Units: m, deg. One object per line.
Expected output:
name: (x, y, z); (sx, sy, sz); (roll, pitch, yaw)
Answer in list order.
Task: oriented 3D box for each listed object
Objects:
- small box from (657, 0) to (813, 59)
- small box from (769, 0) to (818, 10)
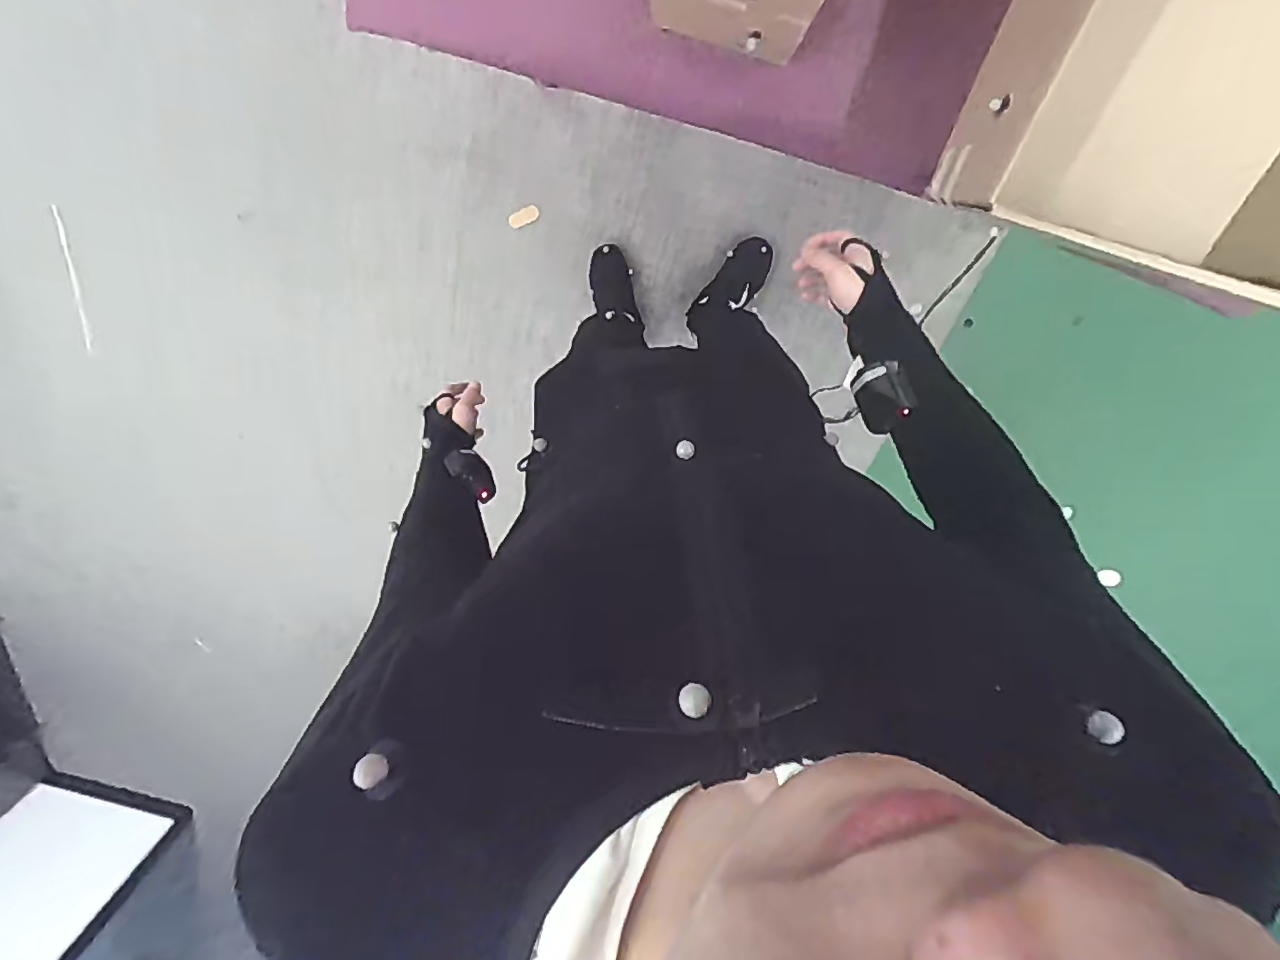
small box: (0.112, -0.553, 0.530); (0.168, 0.176, 0.179); (17, 117, -2)
small box: (0.095, -0.482, 0.384); (0.168, 0.176, 0.179); (16, 118, -2)
